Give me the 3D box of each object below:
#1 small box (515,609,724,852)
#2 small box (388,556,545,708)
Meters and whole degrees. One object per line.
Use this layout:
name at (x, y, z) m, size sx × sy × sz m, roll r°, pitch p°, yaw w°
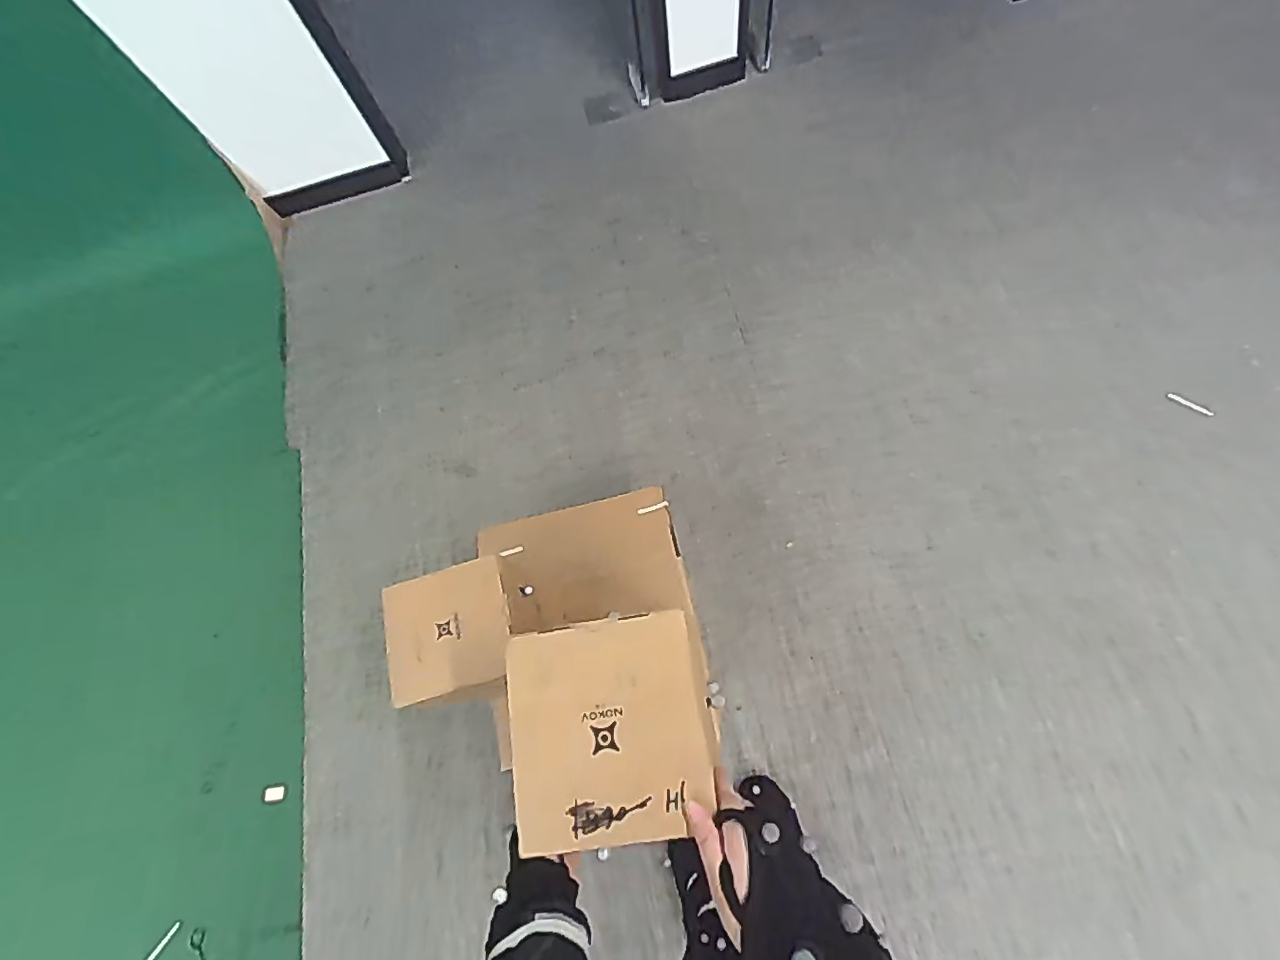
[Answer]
small box at (-0.013, 0.235, 0.533) m, size 0.168 × 0.176 × 0.179 m, roll -11°, pitch 70°, yaw 7°
small box at (-0.242, 0.228, 0.804) m, size 0.179 × 0.176 × 0.168 m, roll -17°, pitch 67°, yaw 3°
